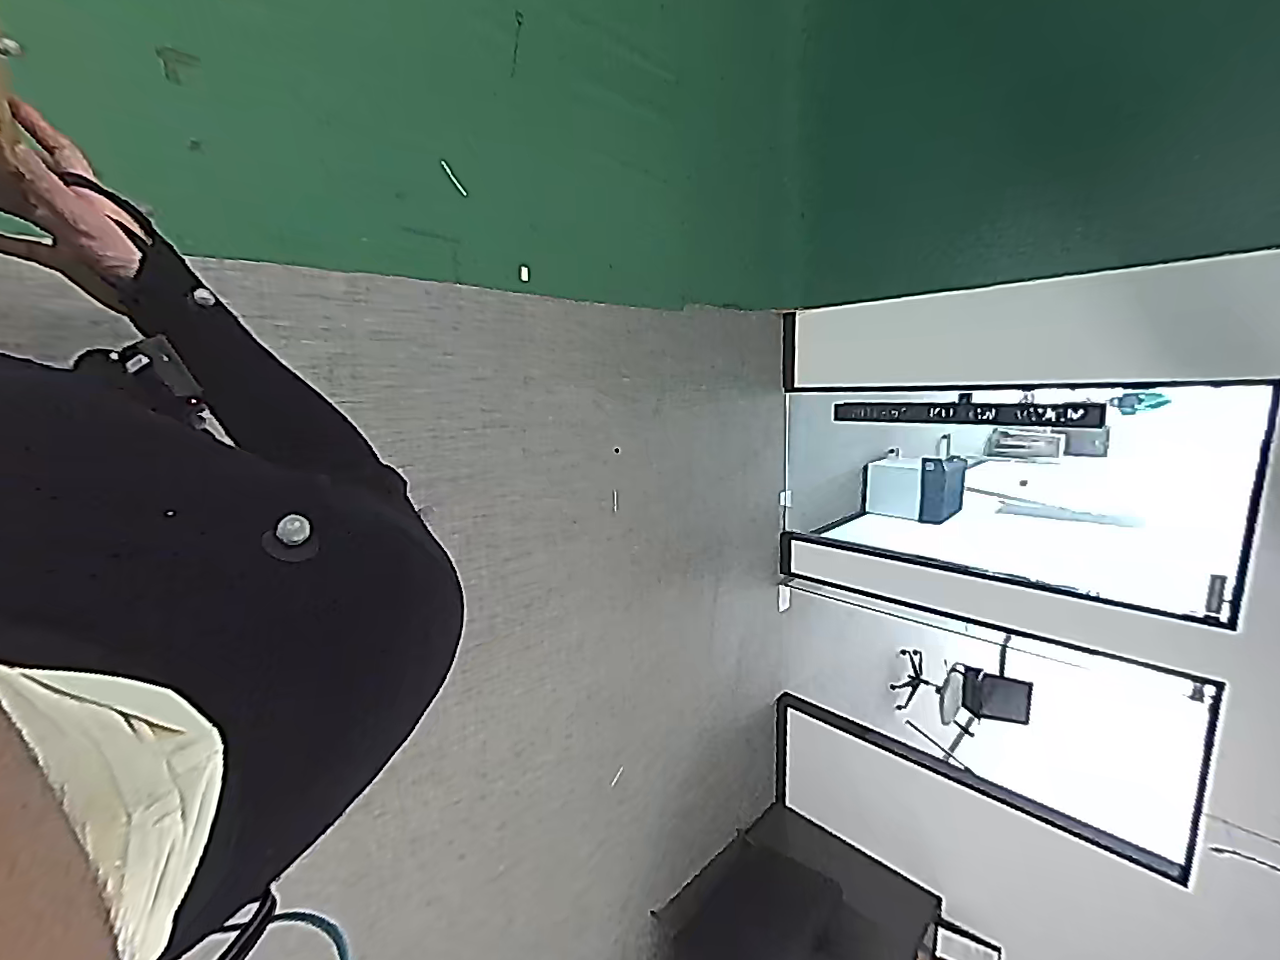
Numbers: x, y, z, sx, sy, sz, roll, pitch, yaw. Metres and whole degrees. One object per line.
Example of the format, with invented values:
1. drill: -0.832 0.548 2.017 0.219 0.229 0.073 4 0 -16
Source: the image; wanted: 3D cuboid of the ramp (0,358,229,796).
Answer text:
1. ramp: -1.299 0.230 1.224 0.509 0.206 0.991 -15 108 -43
